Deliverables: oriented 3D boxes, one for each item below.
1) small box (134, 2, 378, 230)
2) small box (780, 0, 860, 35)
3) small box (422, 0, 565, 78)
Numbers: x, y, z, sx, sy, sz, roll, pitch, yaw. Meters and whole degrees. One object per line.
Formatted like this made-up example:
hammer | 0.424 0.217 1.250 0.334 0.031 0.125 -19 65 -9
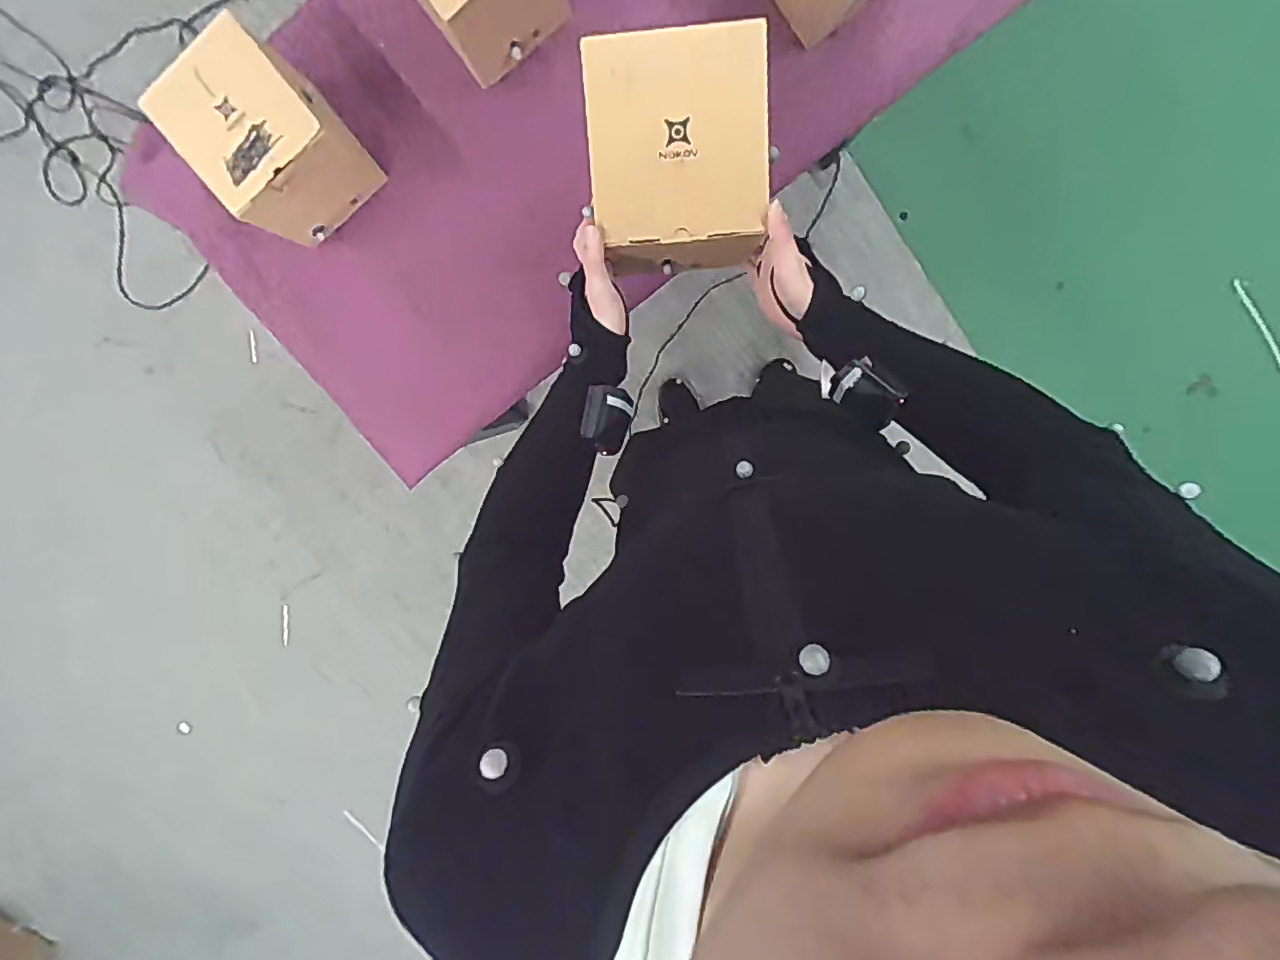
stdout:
small box | -0.507 -0.474 0.745 0.168 0.176 0.179 -38 96 7
small box | 0.246 -0.725 0.672 0.168 0.176 0.179 -35 95 9
small box | -0.221 -0.685 0.700 0.168 0.176 0.179 -36 98 8
